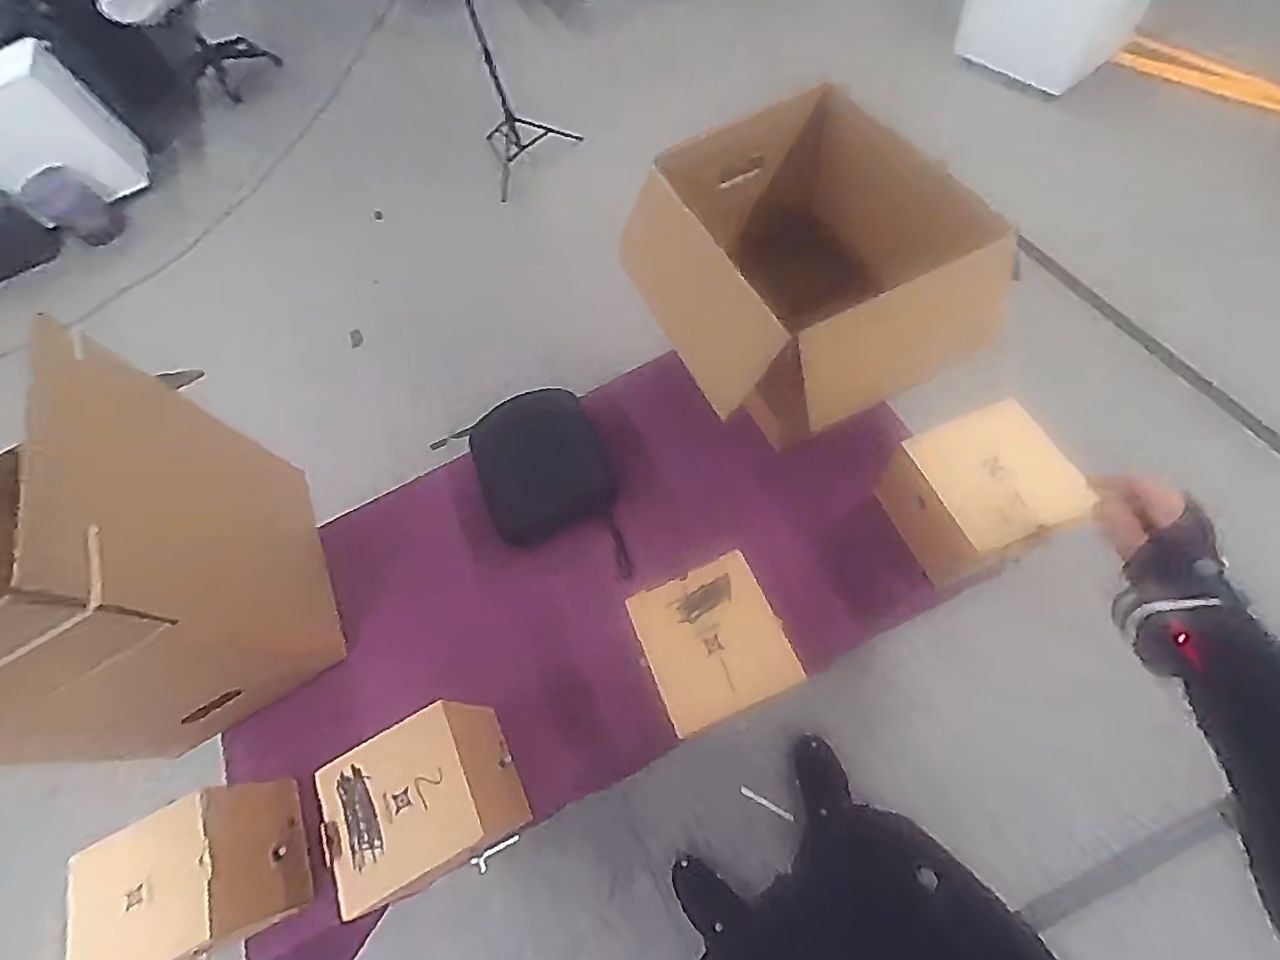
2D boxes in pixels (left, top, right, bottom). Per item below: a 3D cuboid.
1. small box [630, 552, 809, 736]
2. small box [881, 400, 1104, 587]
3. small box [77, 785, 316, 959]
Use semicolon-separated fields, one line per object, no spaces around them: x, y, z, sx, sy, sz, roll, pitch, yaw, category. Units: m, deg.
0.102;0.227;0.728;0.168;0.176;0.179;-24;63;-1;small box
0.465;0.026;0.753;0.168;0.176;0.179;-22;63;1;small box
-0.570;0.528;0.711;0.179;0.176;0.168;-27;63;-5;small box
